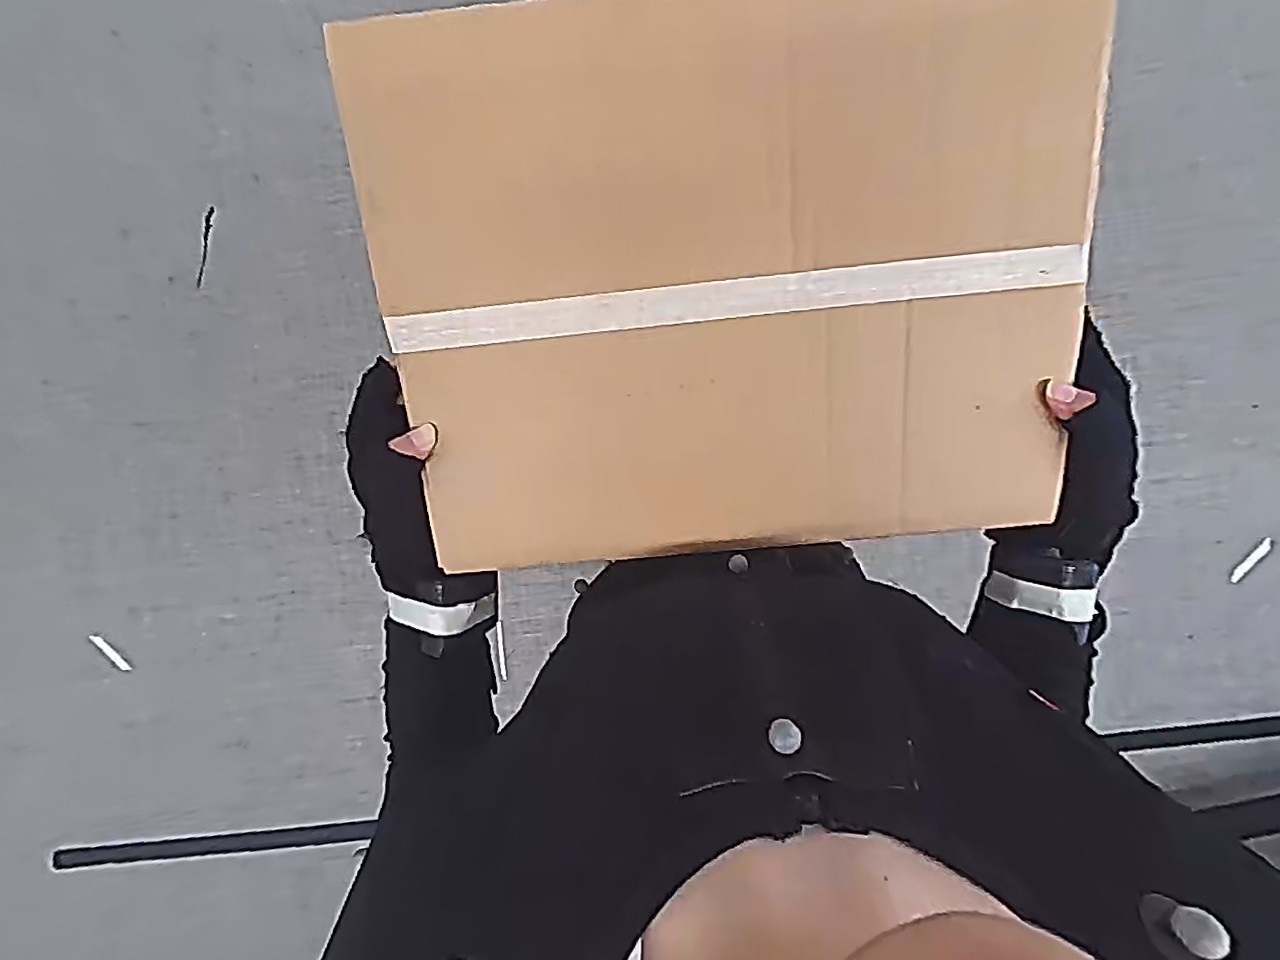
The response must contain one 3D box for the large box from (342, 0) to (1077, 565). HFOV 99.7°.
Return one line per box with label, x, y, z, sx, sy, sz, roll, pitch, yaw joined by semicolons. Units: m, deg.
large box;0.047;-0.147;0.469;0.408;0.320;0.320;-6;106;1
